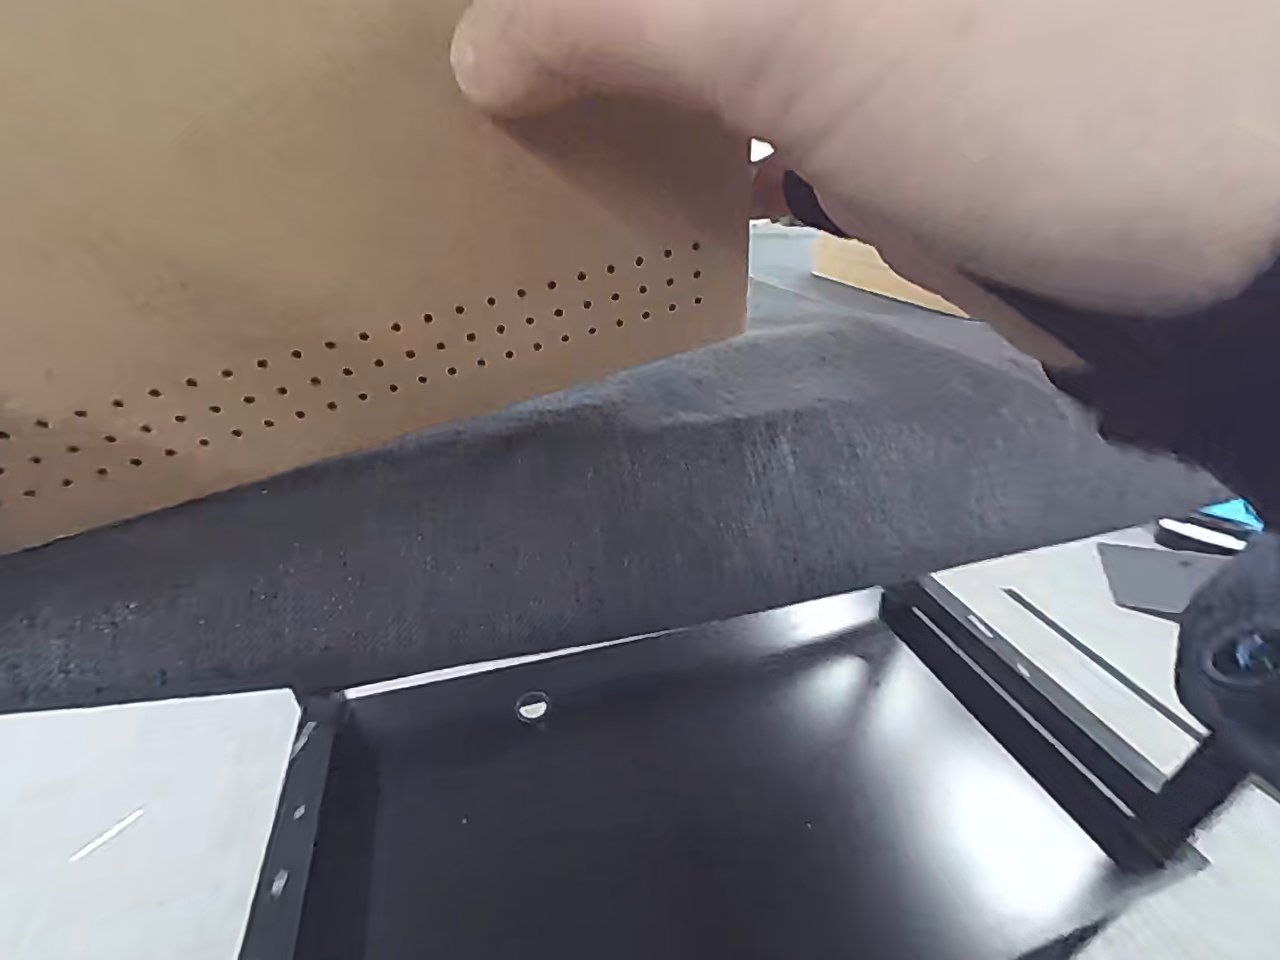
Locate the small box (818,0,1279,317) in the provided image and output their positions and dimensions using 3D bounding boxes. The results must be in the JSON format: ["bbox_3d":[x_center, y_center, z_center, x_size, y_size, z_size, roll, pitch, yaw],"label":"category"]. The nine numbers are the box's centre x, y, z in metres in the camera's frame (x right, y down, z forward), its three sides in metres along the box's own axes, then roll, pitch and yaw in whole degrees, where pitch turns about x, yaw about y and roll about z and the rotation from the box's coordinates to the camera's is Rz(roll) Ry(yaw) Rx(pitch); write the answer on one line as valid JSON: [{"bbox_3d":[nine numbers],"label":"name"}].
[{"bbox_3d":[0.238,-0.203,0.345,0.168,0.176,0.179,-6,29,-13],"label":"small box"}]
